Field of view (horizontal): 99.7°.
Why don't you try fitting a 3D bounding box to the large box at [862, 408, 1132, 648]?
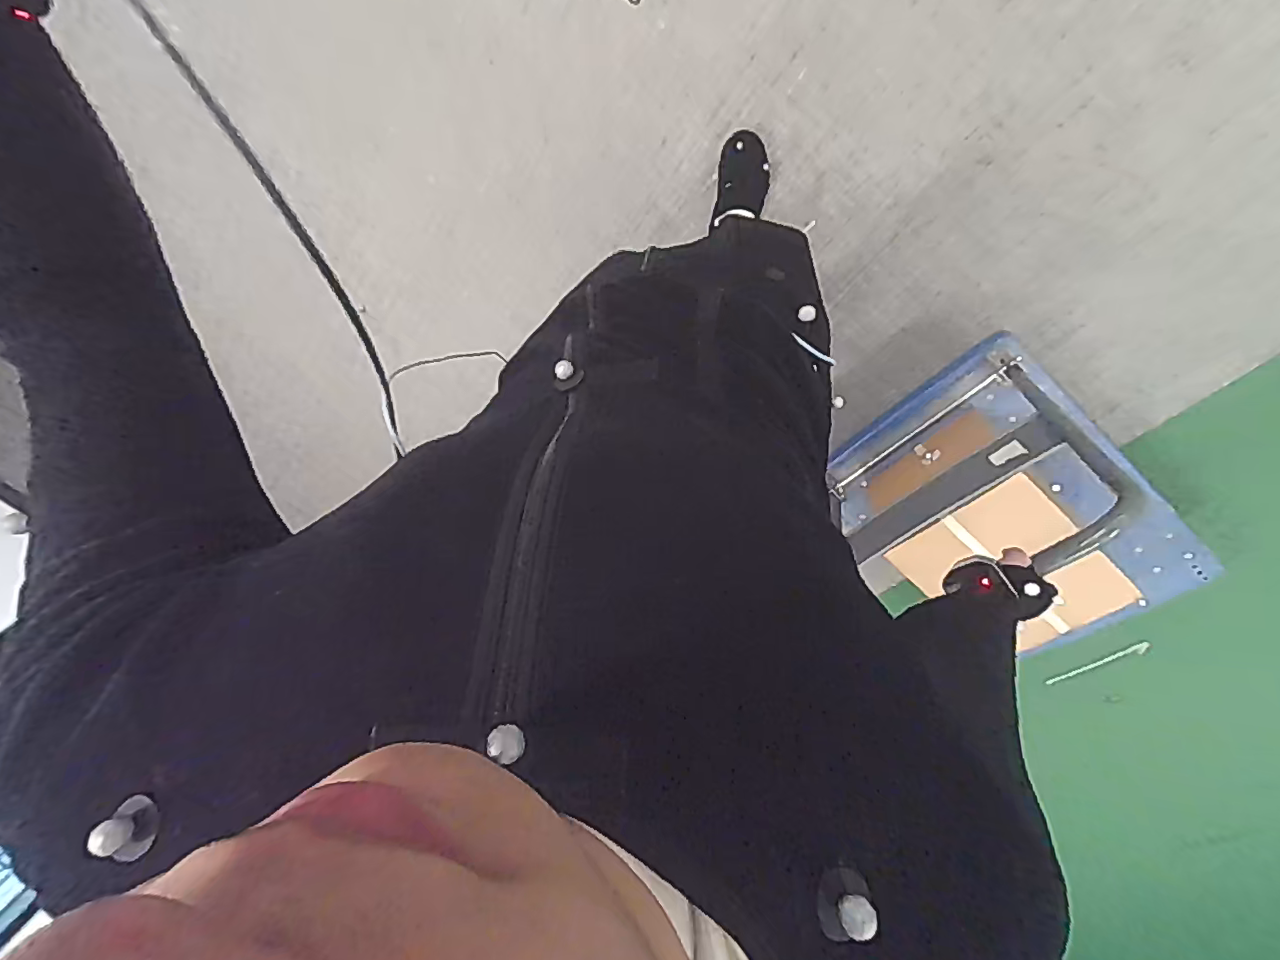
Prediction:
[{"bbox_3d":[0.795,0.107,1.271,0.408,0.320,0.320,40,123,-11],"label":"large box"}]
